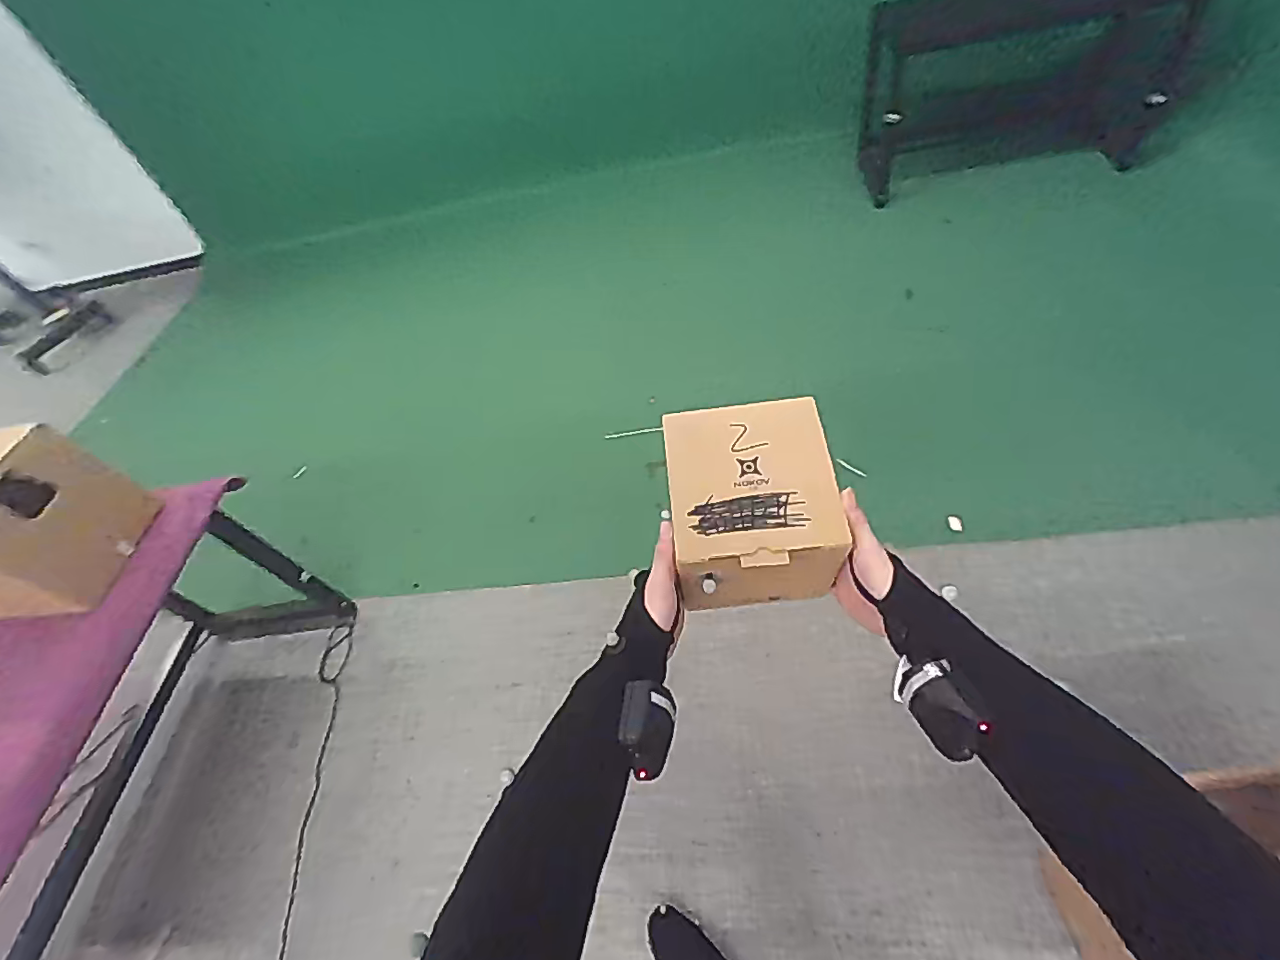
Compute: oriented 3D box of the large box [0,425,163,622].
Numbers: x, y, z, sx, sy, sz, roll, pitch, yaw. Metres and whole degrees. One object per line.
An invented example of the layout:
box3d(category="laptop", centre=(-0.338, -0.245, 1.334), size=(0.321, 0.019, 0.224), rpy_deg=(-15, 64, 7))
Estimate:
box3d(category="large box", centre=(-1.449, 0.114, 1.219), size=(0.408, 0.320, 0.320), rpy_deg=(-7, 52, 8))
